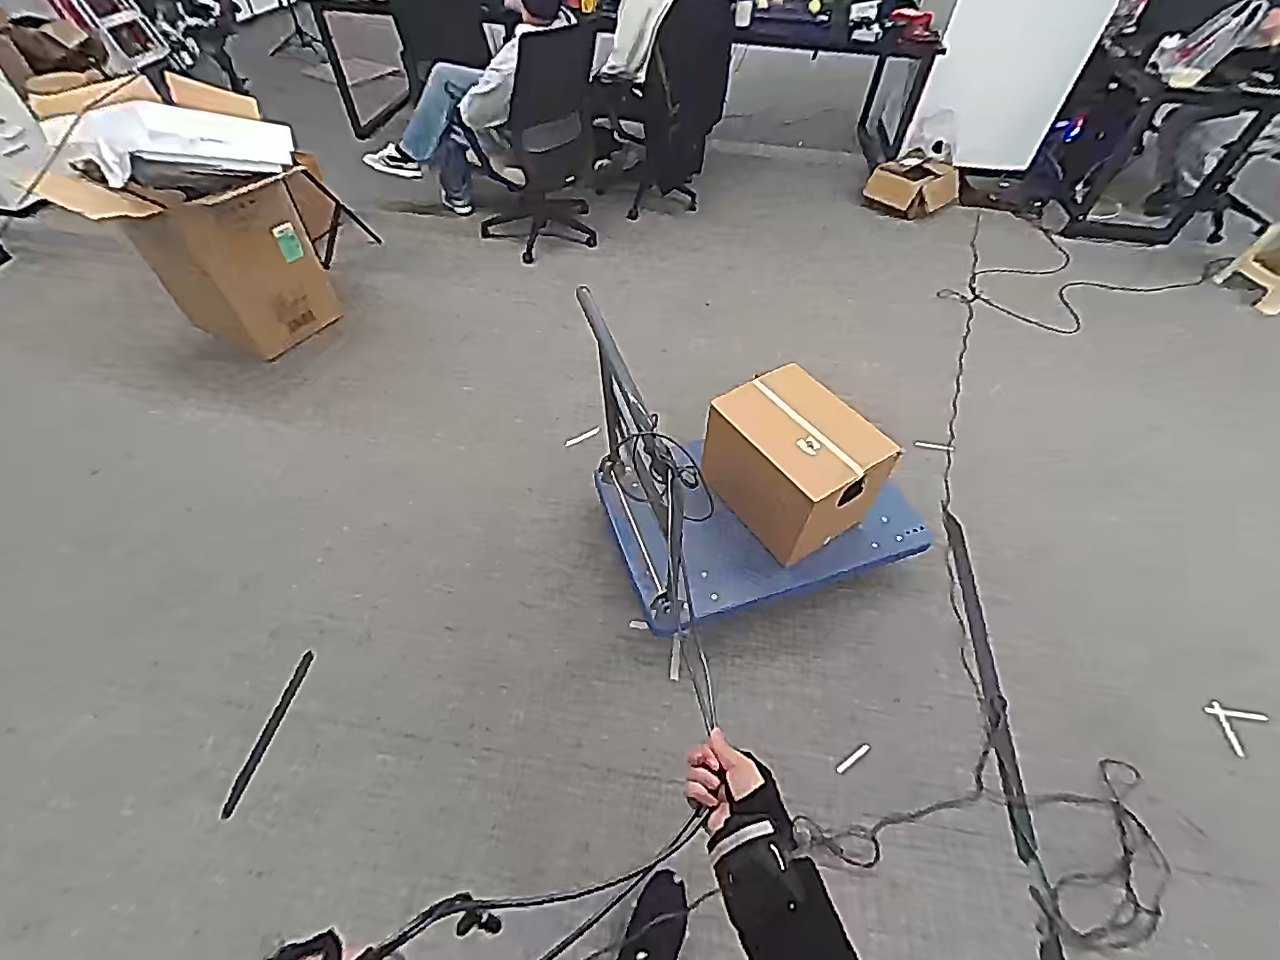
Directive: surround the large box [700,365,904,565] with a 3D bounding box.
[{"bbox_3d":[0.422,-0.047,1.514,0.320,0.320,0.408,-27,58,-20],"label":"large box"}]
